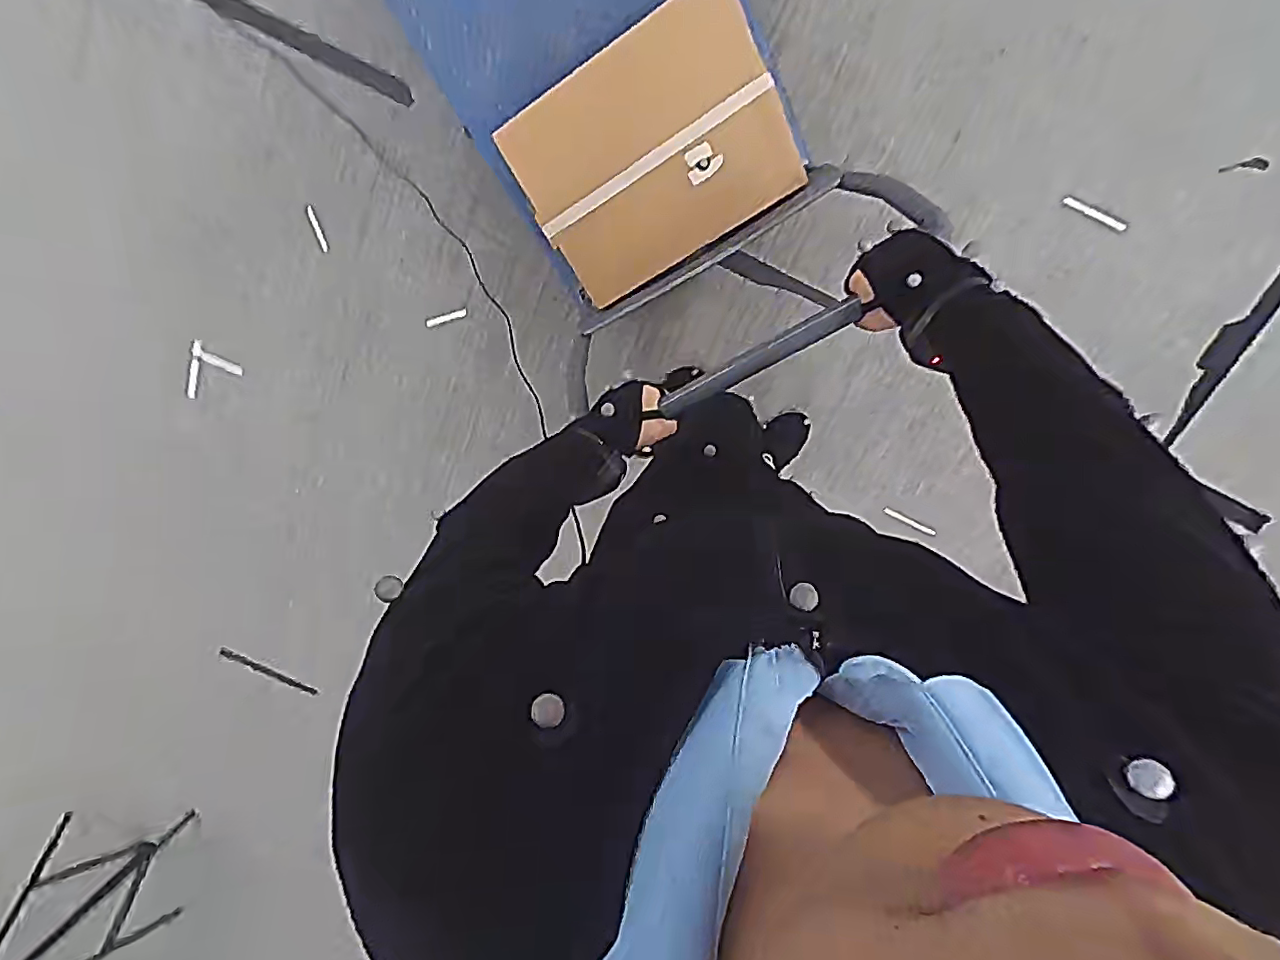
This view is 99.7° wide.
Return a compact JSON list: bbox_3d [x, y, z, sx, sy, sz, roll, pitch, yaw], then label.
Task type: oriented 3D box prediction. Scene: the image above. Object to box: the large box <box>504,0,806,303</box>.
[{"bbox_3d":[0.025,-0.592,0.998,0.408,0.320,0.320,-28,116,14],"label":"large box"}]
